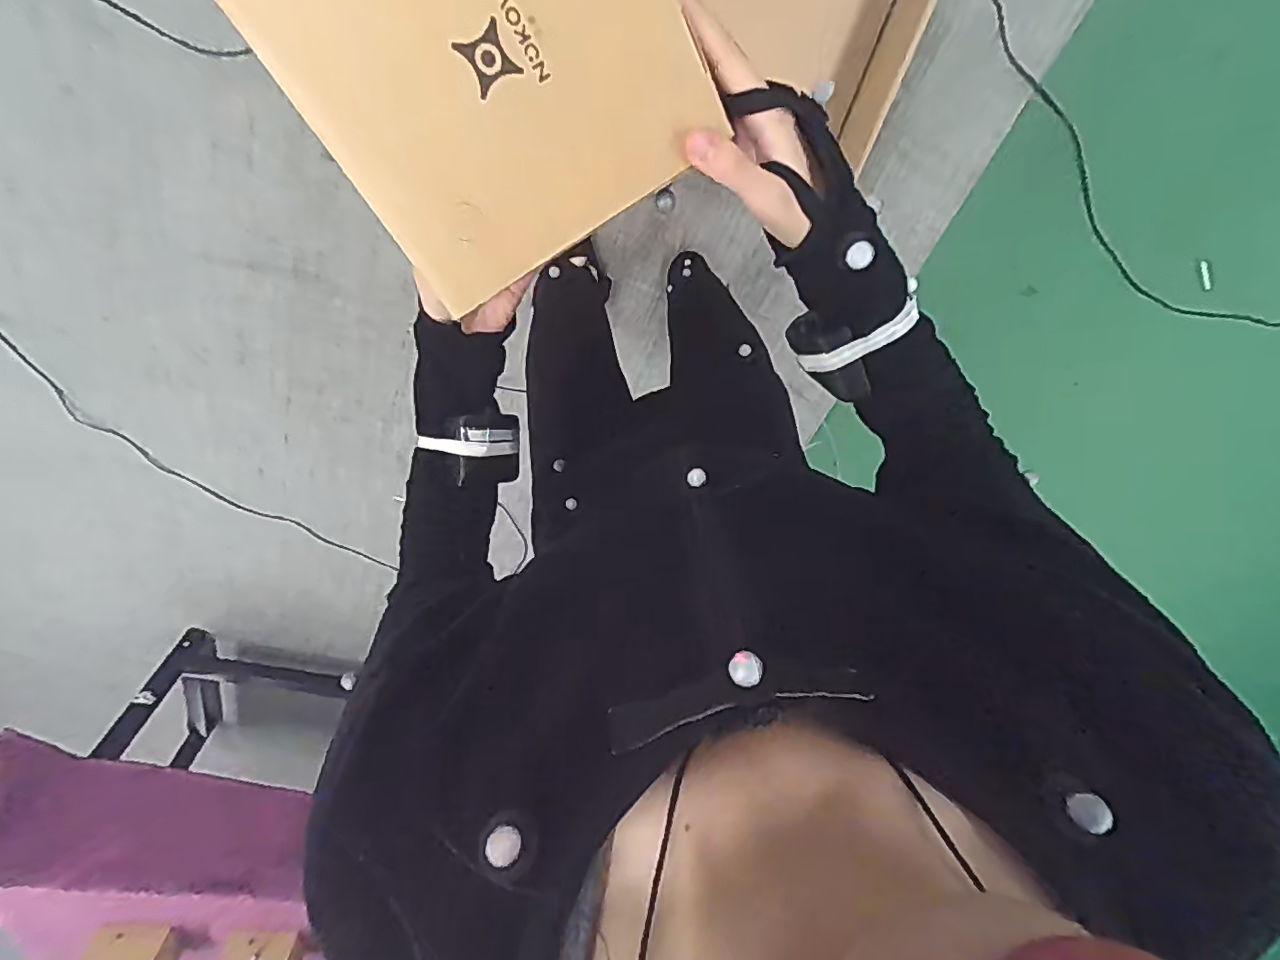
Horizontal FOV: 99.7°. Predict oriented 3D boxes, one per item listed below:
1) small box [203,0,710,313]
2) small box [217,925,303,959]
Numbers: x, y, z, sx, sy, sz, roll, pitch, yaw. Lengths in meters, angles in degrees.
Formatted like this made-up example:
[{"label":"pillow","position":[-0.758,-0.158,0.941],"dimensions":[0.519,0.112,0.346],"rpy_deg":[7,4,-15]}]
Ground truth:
[{"label":"small box","position":[-0.090,-0.224,0.321],"dimensions":[0.179,0.176,0.168],"rpy_deg":[-33,118,1]},{"label":"small box","position":[-1.010,1.300,1.415],"dimensions":[0.168,0.176,0.179],"rpy_deg":[9,123,-11]}]
